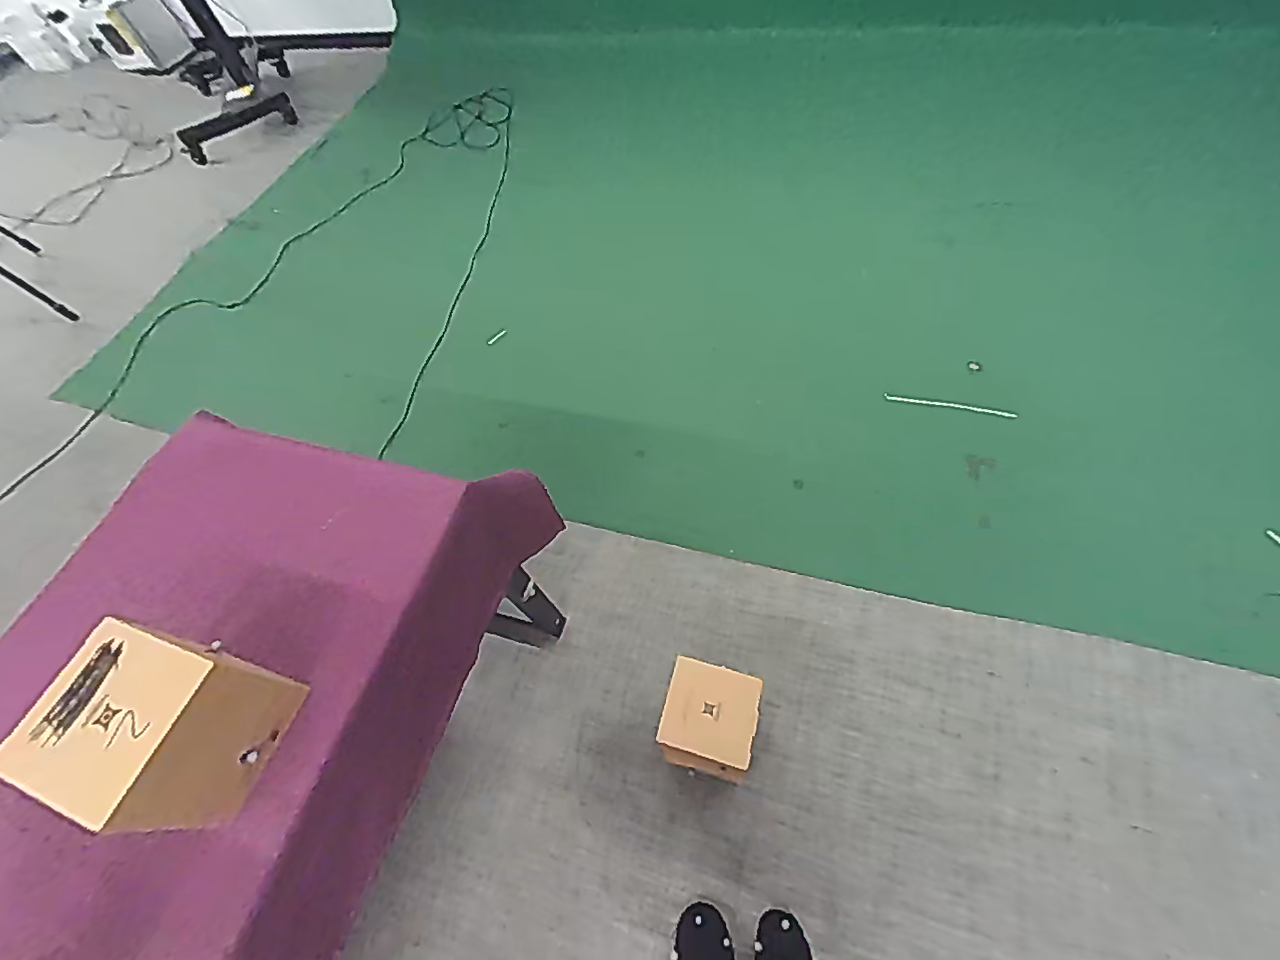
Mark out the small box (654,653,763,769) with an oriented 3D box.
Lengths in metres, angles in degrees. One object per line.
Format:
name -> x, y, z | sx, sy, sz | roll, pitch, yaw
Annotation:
small box -> 0.141, 0.472, 1.094 | 0.179, 0.176, 0.168 | 12, 60, 15

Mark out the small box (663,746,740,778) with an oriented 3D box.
small box -> 0.158, 0.562, 1.229 | 0.168, 0.176, 0.179 | 10, 61, 13
